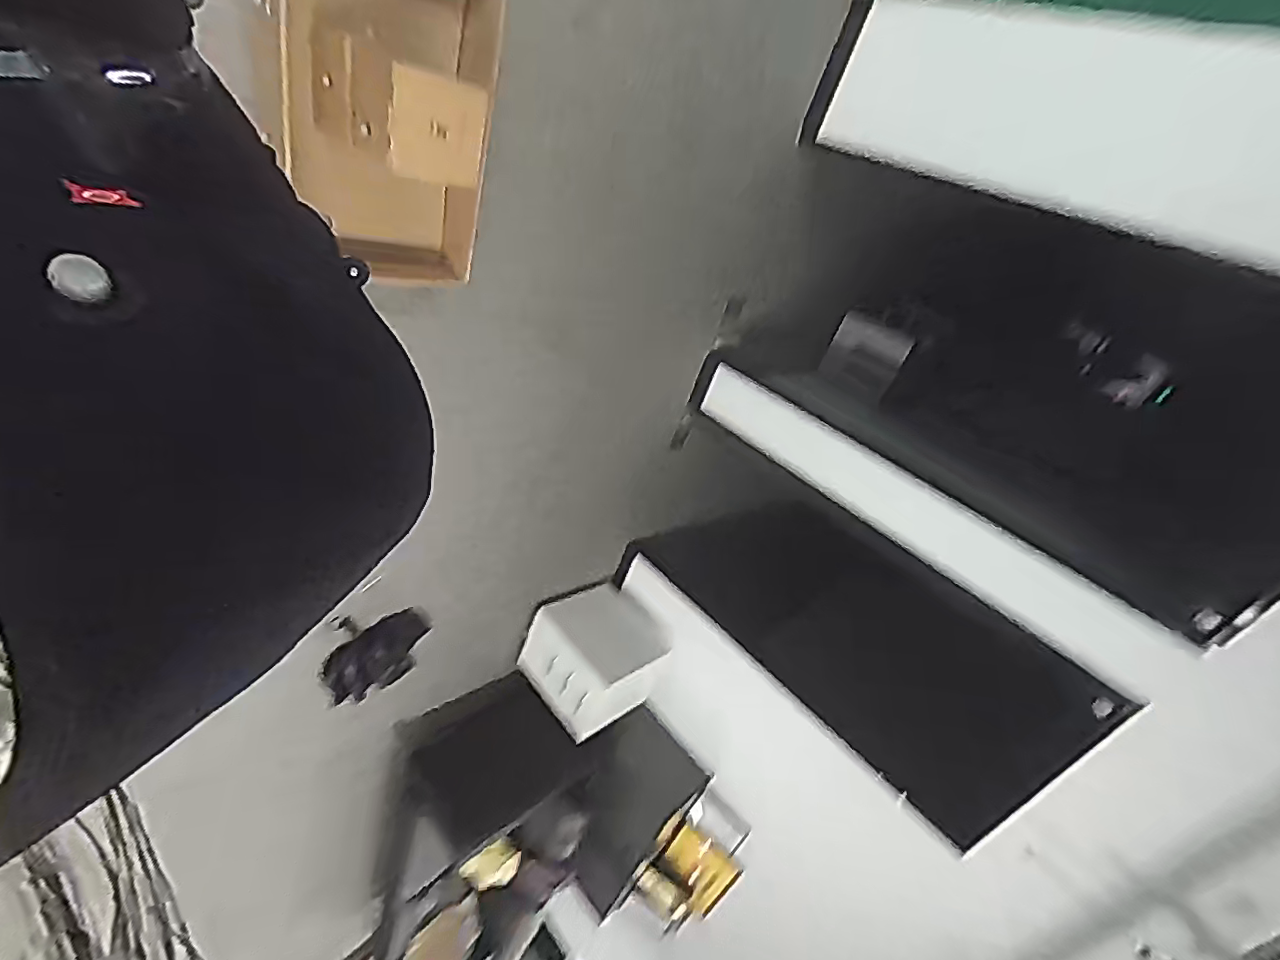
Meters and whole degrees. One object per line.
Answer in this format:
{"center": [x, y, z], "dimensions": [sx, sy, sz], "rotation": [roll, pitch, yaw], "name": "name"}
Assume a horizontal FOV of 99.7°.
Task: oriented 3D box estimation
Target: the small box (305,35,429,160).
{"center": [-0.537, -0.733, 1.060], "dimensions": [0.168, 0.176, 0.179], "rotation": [-18, 136, -45], "name": "small box"}

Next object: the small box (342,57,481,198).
{"center": [-0.423, -0.642, 0.990], "dimensions": [0.179, 0.176, 0.168], "rotation": [-18, 139, -46], "name": "small box"}
